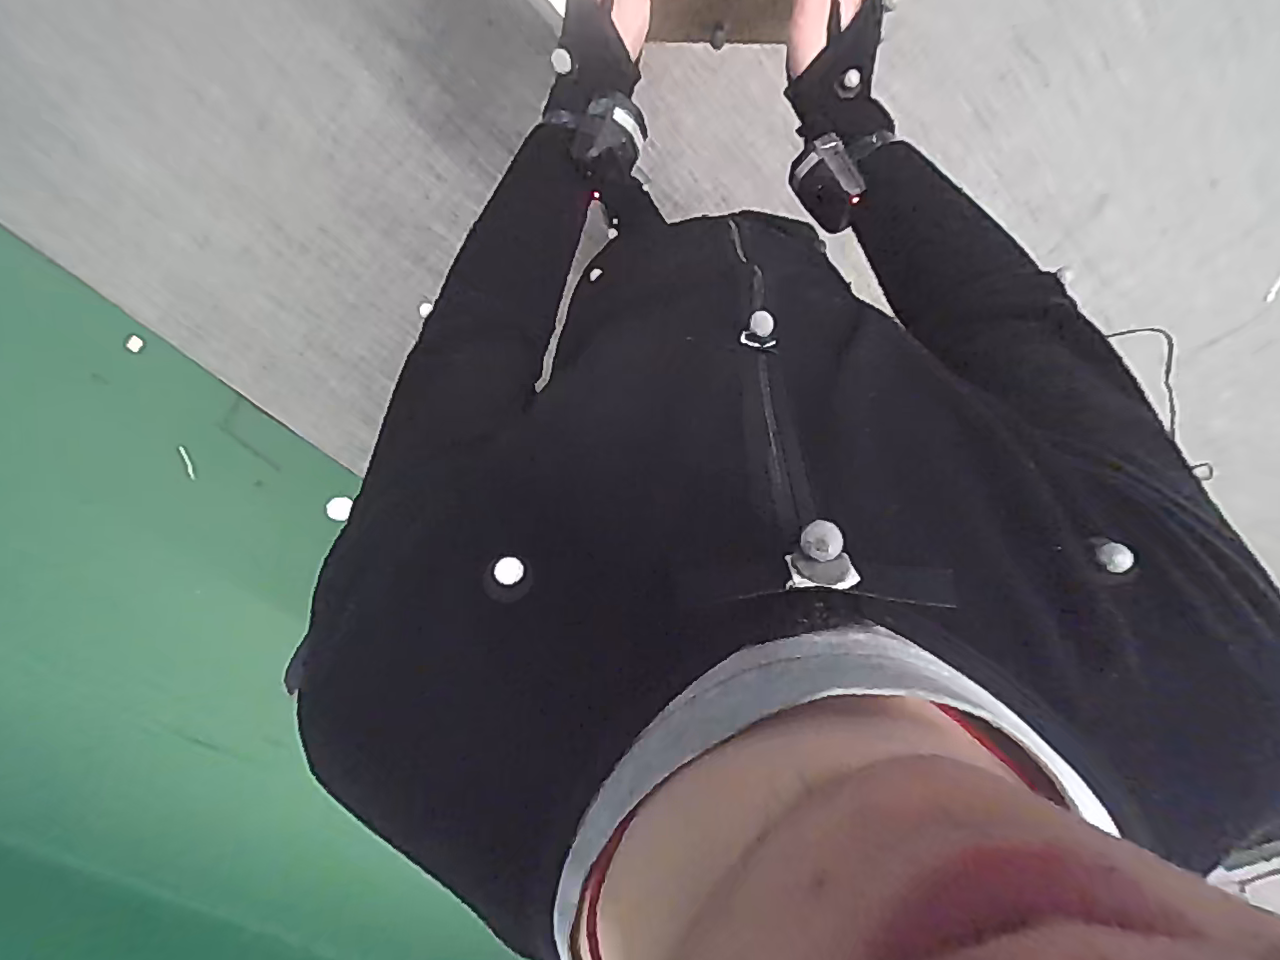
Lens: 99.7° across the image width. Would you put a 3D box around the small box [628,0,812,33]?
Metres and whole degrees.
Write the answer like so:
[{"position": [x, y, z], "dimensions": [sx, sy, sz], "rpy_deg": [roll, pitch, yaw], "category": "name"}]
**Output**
[{"position": [0.079, -0.504, 0.444], "dimensions": [0.179, 0.176, 0.168], "rpy_deg": [2, 109, 0], "category": "small box"}]
